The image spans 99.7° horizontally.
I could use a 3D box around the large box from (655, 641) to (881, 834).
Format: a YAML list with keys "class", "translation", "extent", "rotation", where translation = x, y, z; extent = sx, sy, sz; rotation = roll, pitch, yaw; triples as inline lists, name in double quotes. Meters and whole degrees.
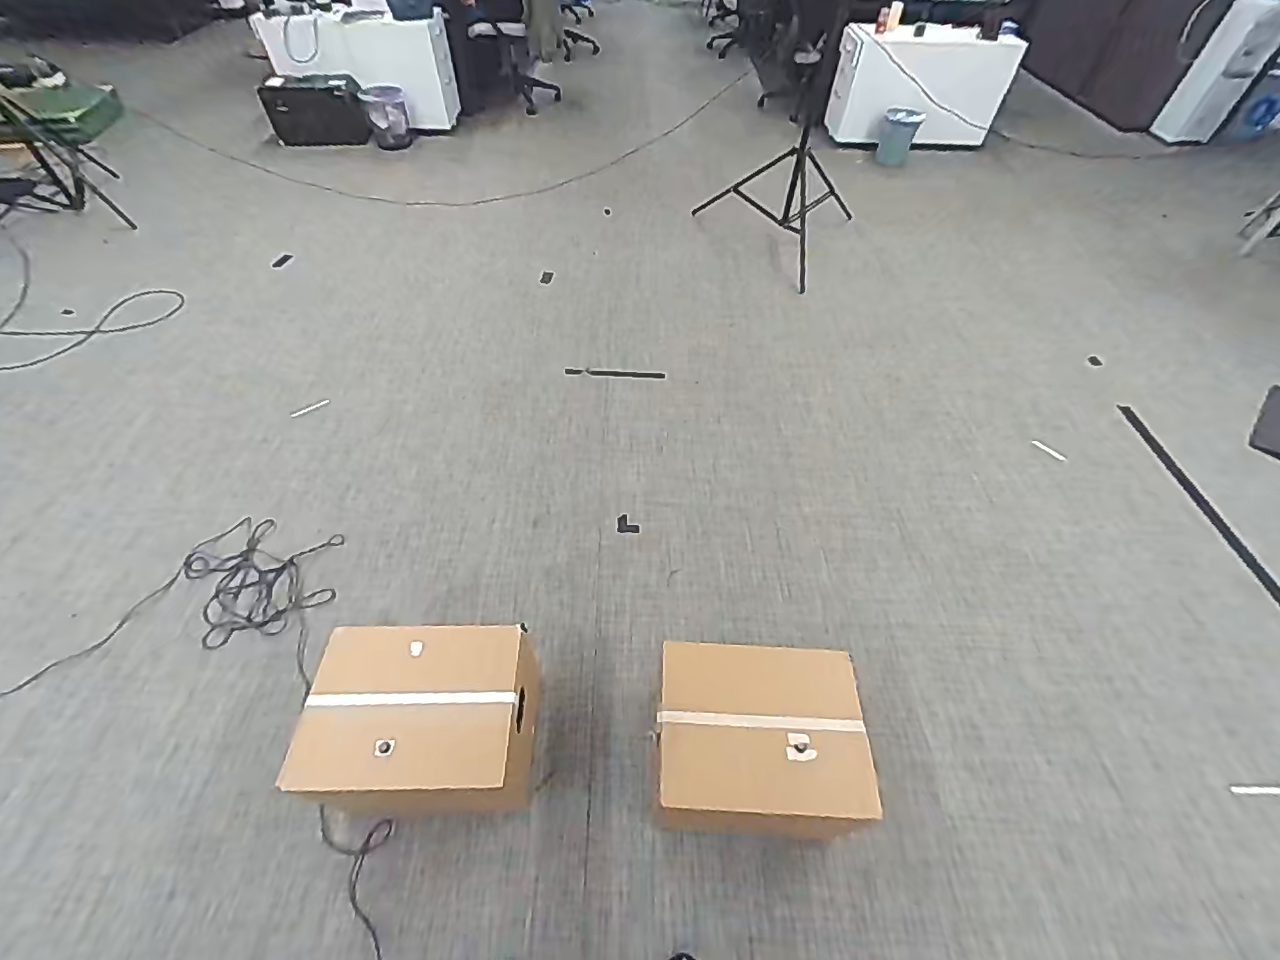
- class: "large box"
  translation: [0.241, 0.573, 1.191]
  extent: [0.408, 0.320, 0.320]
  rotation: [4, 51, 0]
